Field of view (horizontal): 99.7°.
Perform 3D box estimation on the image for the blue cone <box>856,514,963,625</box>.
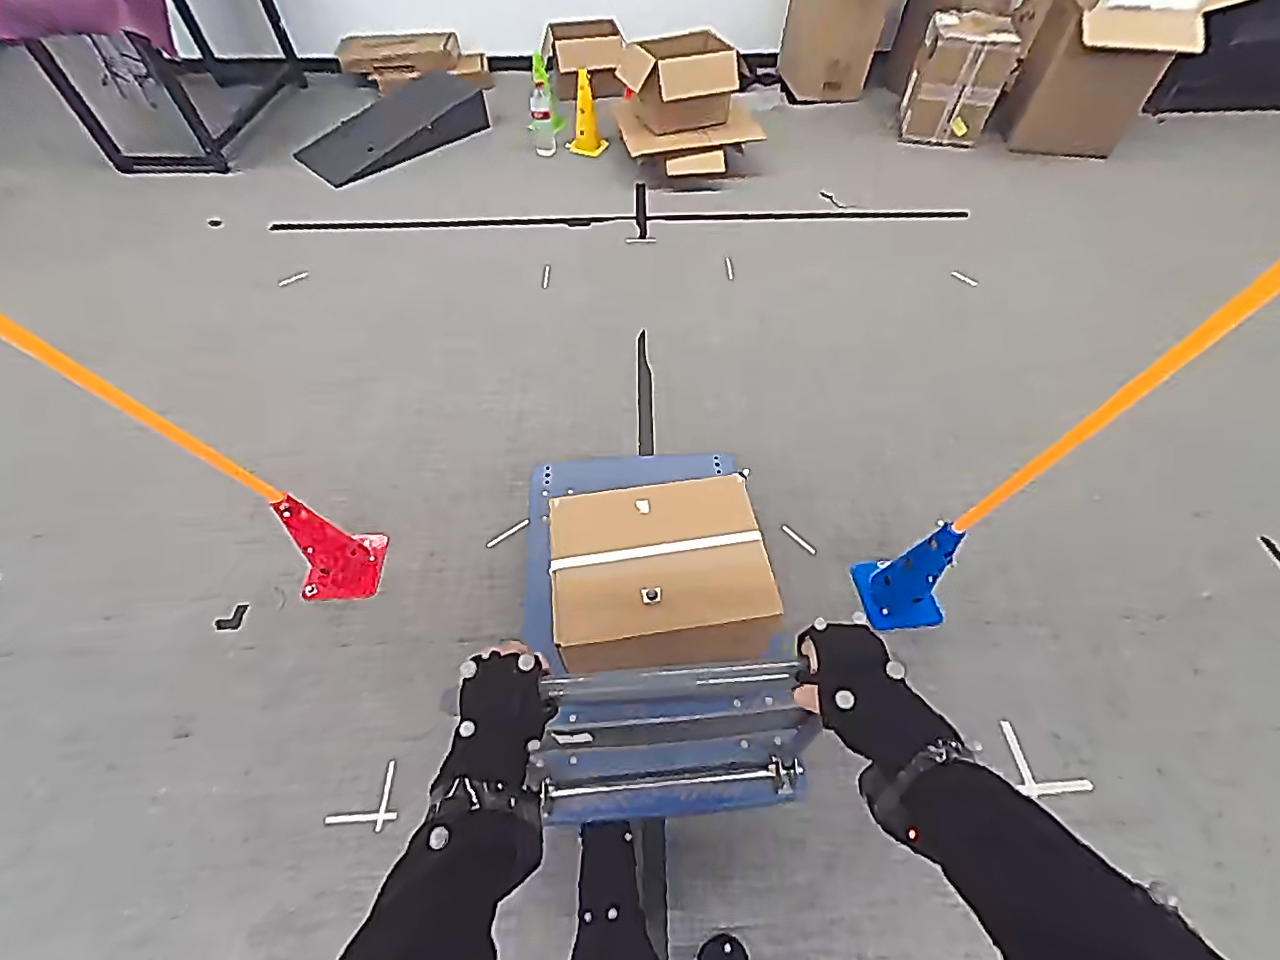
[{"bbox_3d":[0.713,0.210,1.362,0.193,0.380,0.192,-4,54,-3],"label":"blue cone"}]
